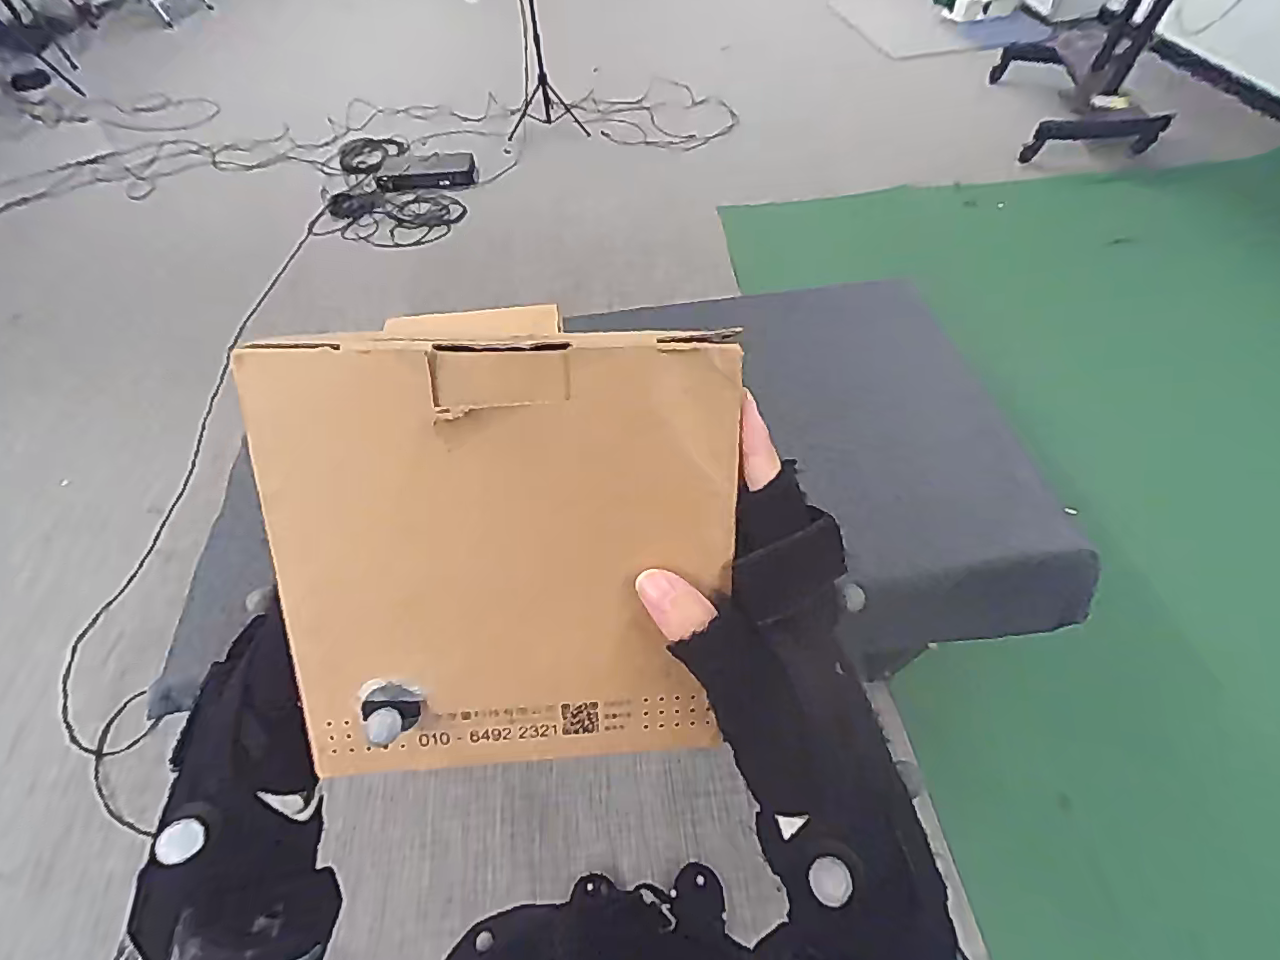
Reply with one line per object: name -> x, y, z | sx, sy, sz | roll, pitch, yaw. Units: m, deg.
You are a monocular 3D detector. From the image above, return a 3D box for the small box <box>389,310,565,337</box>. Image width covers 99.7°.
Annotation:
small box -> -0.157, -0.054, 0.573 | 0.179, 0.176, 0.168 | -7, 53, -2

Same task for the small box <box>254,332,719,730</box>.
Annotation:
small box -> -0.057, 0.011, 0.290 | 0.168, 0.176, 0.179 | -1, 15, -6
